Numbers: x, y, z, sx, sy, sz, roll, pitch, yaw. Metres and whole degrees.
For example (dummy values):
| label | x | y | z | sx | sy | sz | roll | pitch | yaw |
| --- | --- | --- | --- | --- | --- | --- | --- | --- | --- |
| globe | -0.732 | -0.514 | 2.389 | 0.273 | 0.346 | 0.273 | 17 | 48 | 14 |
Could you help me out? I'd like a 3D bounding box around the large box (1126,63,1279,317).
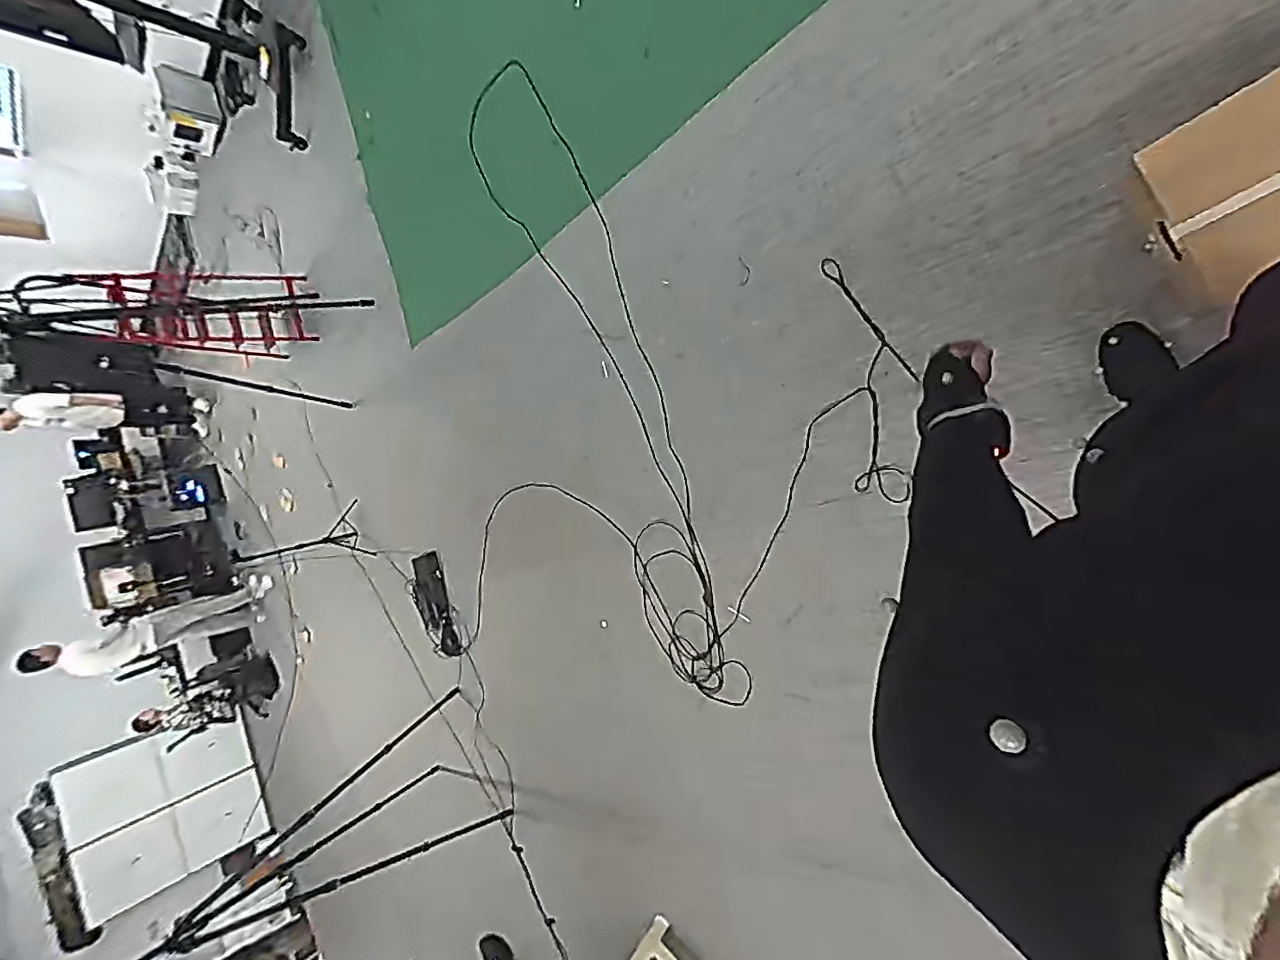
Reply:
| label | x | y | z | sx | sy | sz | roll | pitch | yaw |
| --- | --- | --- | --- | --- | --- | --- | --- | --- | --- |
| large box | 1.148 | -0.530 | 0.913 | 0.408 | 0.320 | 0.320 | -29 | 81 | 39 |
